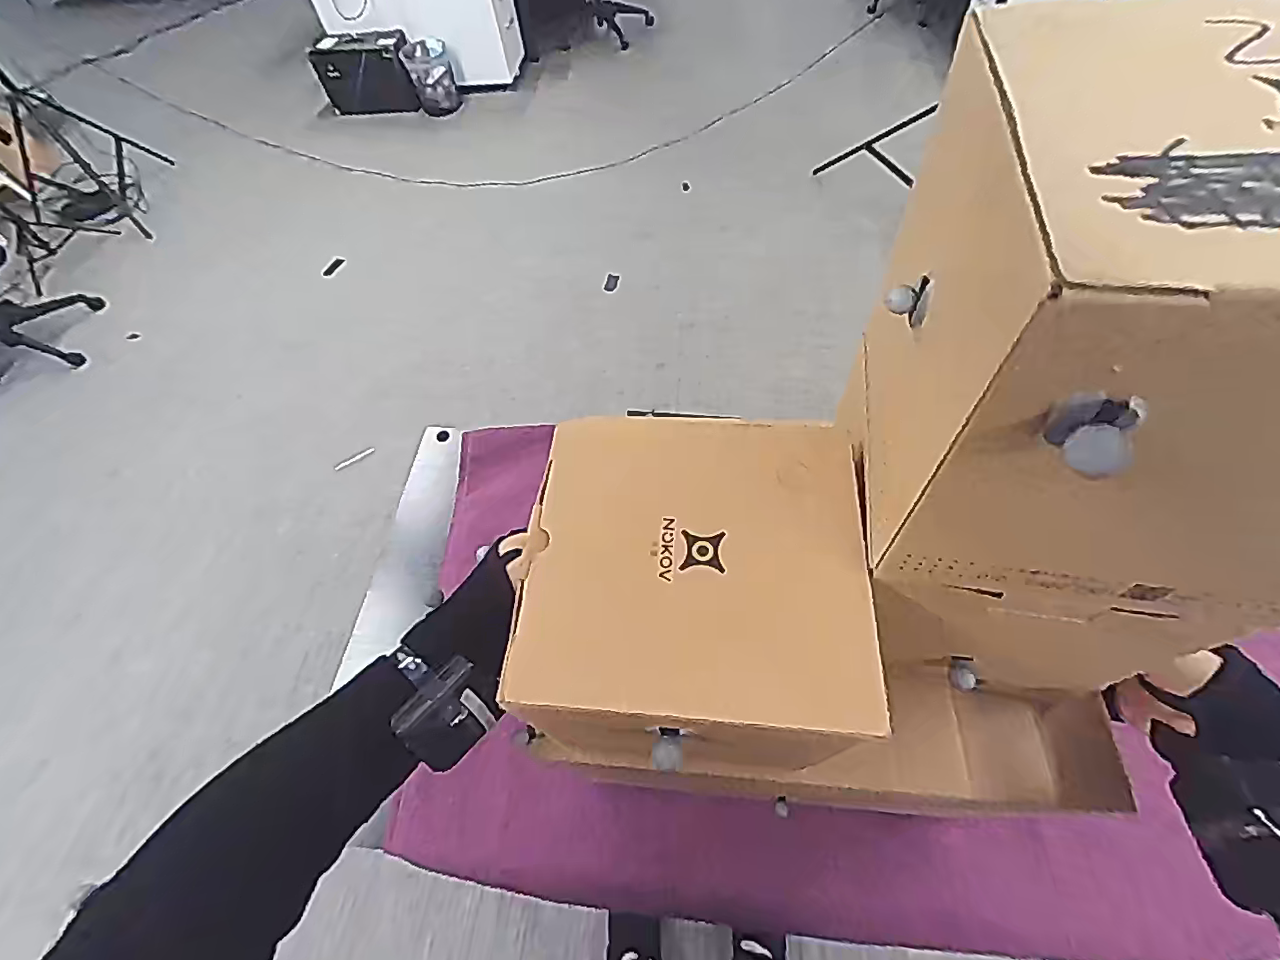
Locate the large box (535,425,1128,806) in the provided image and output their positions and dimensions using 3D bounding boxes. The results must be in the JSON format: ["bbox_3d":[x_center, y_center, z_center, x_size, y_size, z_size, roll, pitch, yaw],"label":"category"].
[{"bbox_3d":[0.145,0.155,0.572,0.408,0.320,0.320,0,56,7],"label":"large box"}]

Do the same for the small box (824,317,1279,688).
[{"bbox_3d":[0.220,0.018,0.358,0.168,0.176,0.179,5,58,11],"label":"small box"}]
